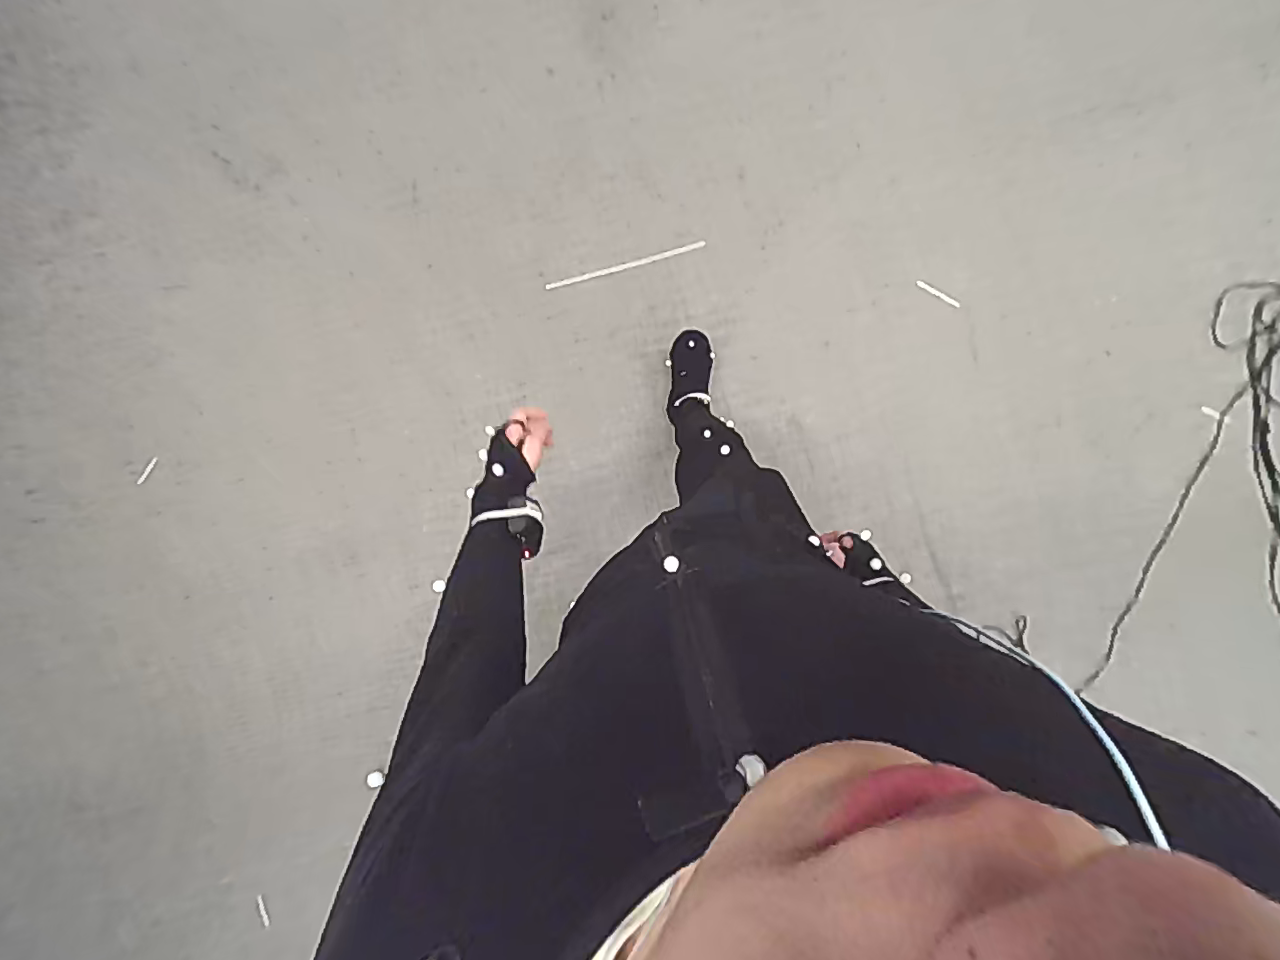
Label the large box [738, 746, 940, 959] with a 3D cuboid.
[{"bbox_3d":[0.520,1.001,1.490,0.408,0.320,0.320,-16,91,3],"label":"large box"}]
